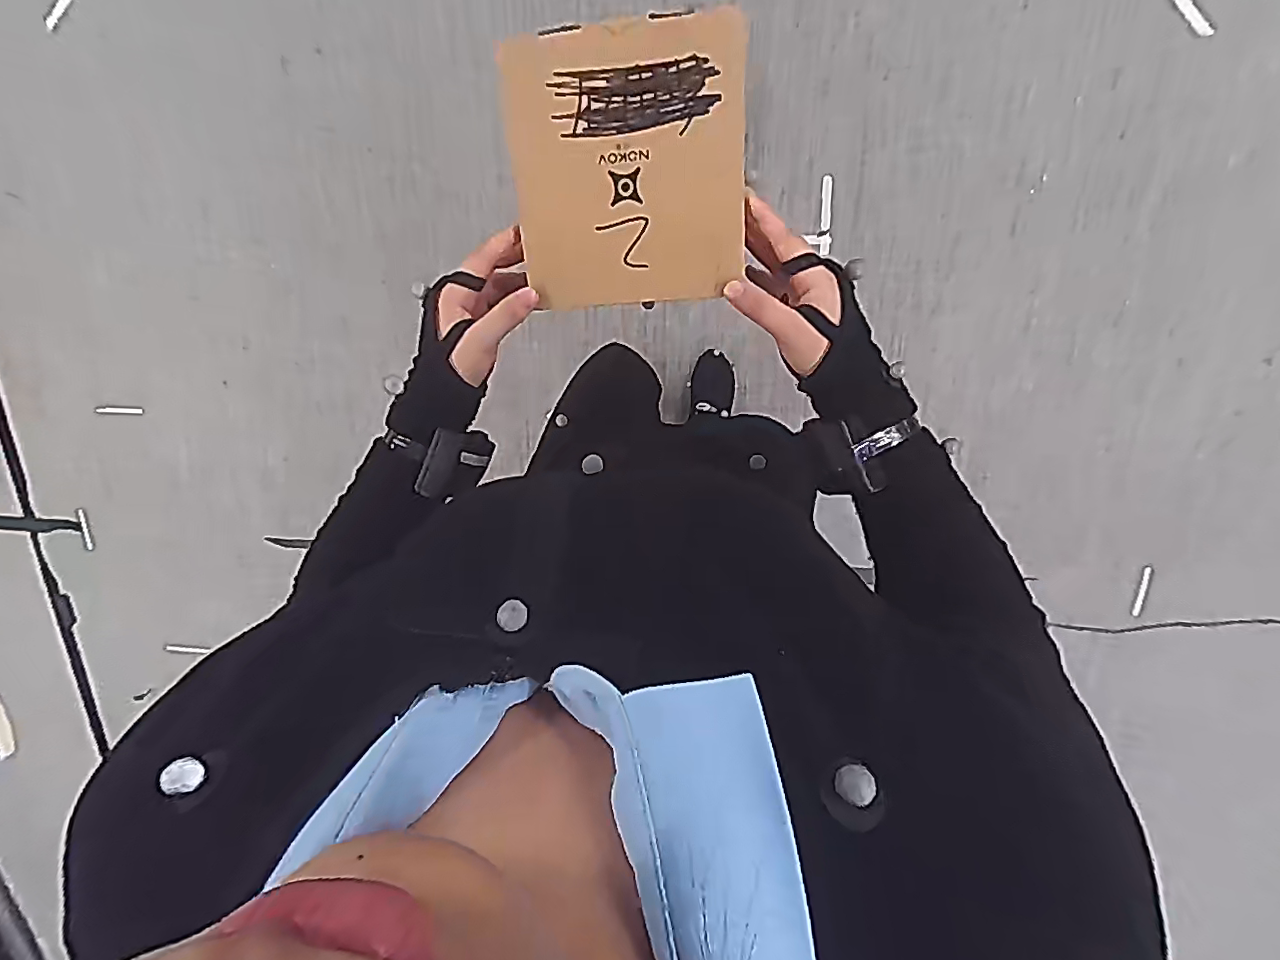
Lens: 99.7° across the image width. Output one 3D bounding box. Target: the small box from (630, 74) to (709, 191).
[{"bbox_3d":[0.068,-0.767,1.211,0.168,0.176,0.179,0,105,6],"label":"small box"}]
